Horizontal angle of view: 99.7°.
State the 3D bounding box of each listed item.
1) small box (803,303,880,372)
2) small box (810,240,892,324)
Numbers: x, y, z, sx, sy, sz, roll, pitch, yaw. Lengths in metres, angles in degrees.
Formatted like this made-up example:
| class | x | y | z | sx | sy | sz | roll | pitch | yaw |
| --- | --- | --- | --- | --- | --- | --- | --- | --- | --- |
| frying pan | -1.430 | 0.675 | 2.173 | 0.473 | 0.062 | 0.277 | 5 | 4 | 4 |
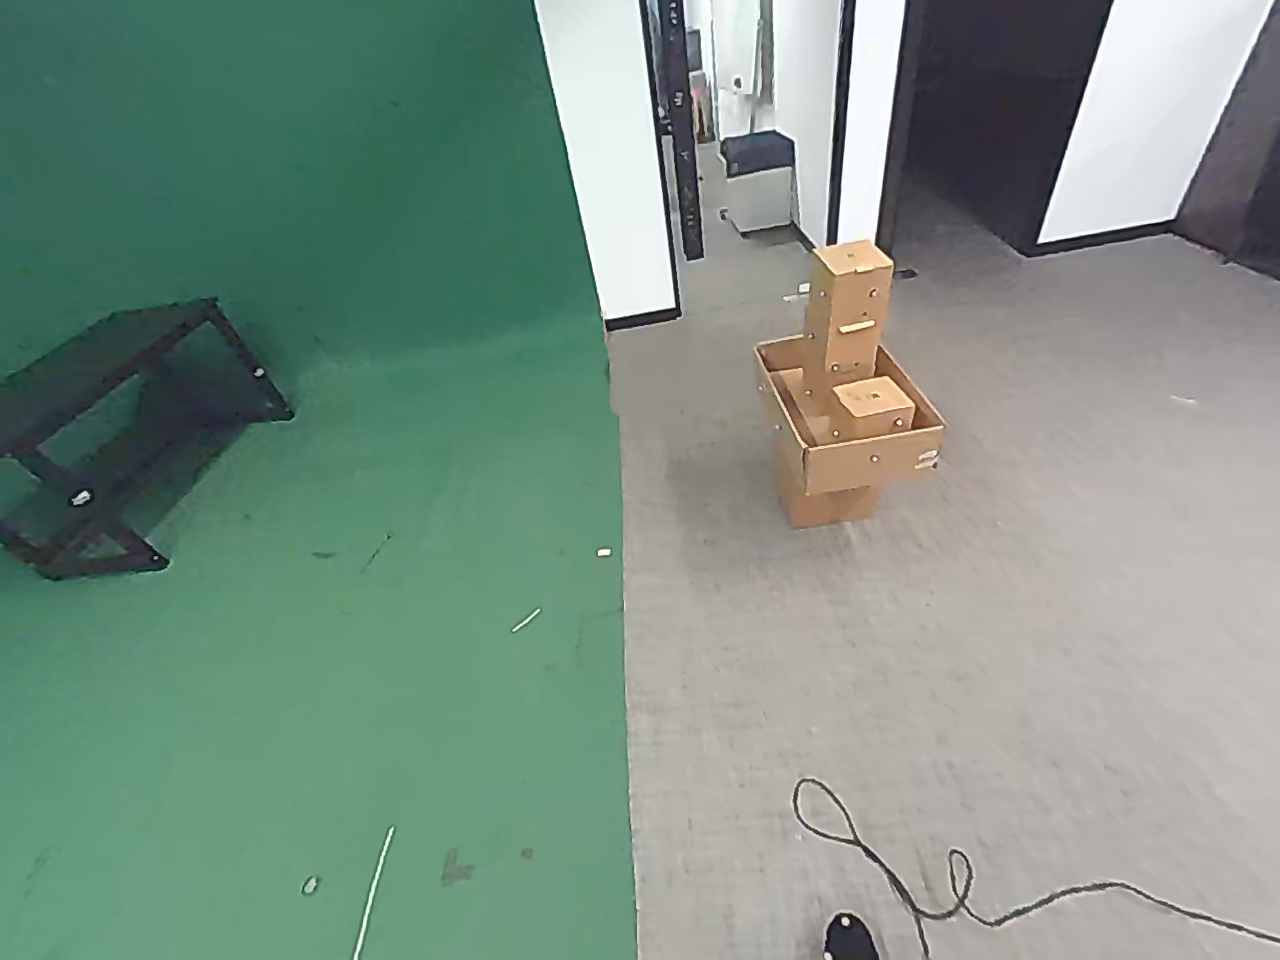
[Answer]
| class | x | y | z | sx | sy | sz | roll | pitch | yaw |
| --- | --- | --- | --- | --- | --- | --- | --- | --- | --- |
| small box | 0.620 | -0.452 | 1.684 | 0.168 | 0.176 | 0.179 | -13 | 44 | -1 |
| small box | 0.603 | -0.566 | 1.569 | 0.168 | 0.176 | 0.179 | -10 | 45 | 1 |
